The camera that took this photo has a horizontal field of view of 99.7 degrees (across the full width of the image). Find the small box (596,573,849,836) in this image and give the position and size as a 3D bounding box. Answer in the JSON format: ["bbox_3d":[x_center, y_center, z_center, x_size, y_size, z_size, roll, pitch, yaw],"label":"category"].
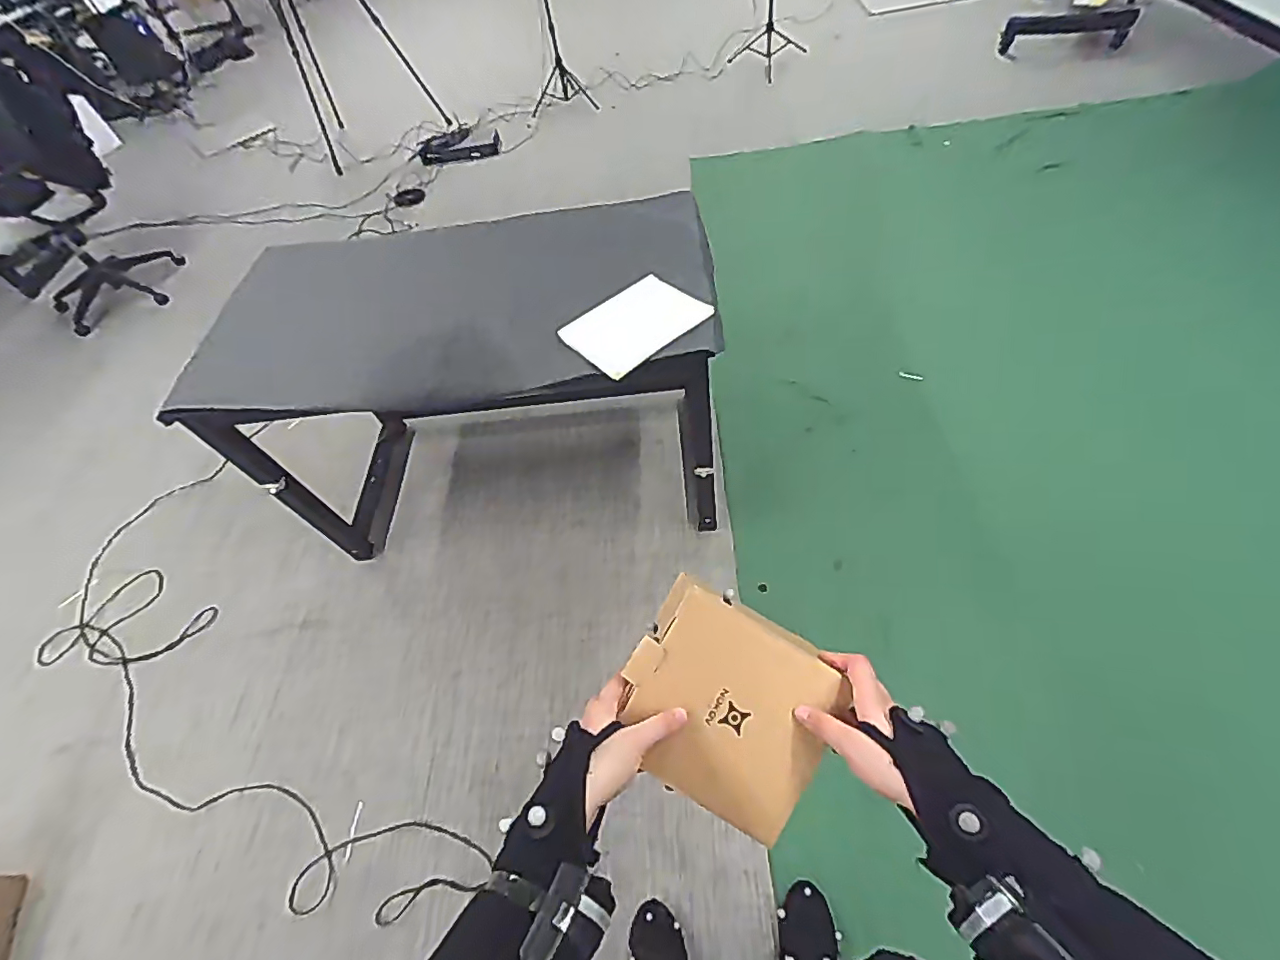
[{"bbox_3d":[0.078,0.209,0.565,0.179,0.176,0.168,29,88,5],"label":"small box"}]
